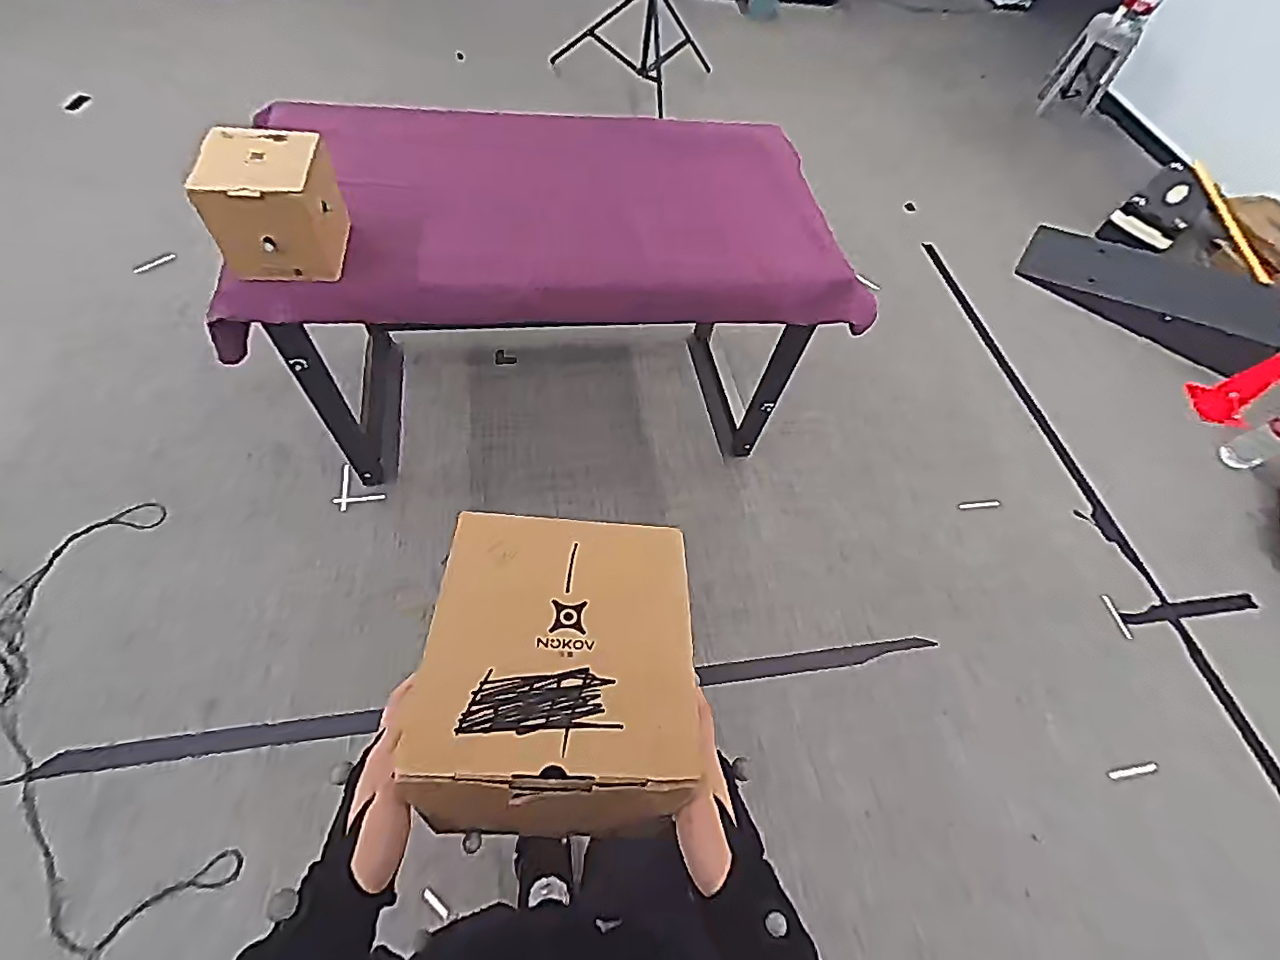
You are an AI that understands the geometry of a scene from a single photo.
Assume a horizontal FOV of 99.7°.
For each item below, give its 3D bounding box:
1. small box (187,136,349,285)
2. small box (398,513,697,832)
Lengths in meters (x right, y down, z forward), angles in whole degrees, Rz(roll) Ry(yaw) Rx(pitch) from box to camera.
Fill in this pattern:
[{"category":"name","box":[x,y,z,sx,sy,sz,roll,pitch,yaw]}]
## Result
[{"category":"small box","box":[-0.623,-0.457,0.934,0.168,0.176,0.179,-3,60,-11]},{"category":"small box","box":[-0.058,0.149,0.406,0.168,0.176,0.179,6,47,-7]}]
